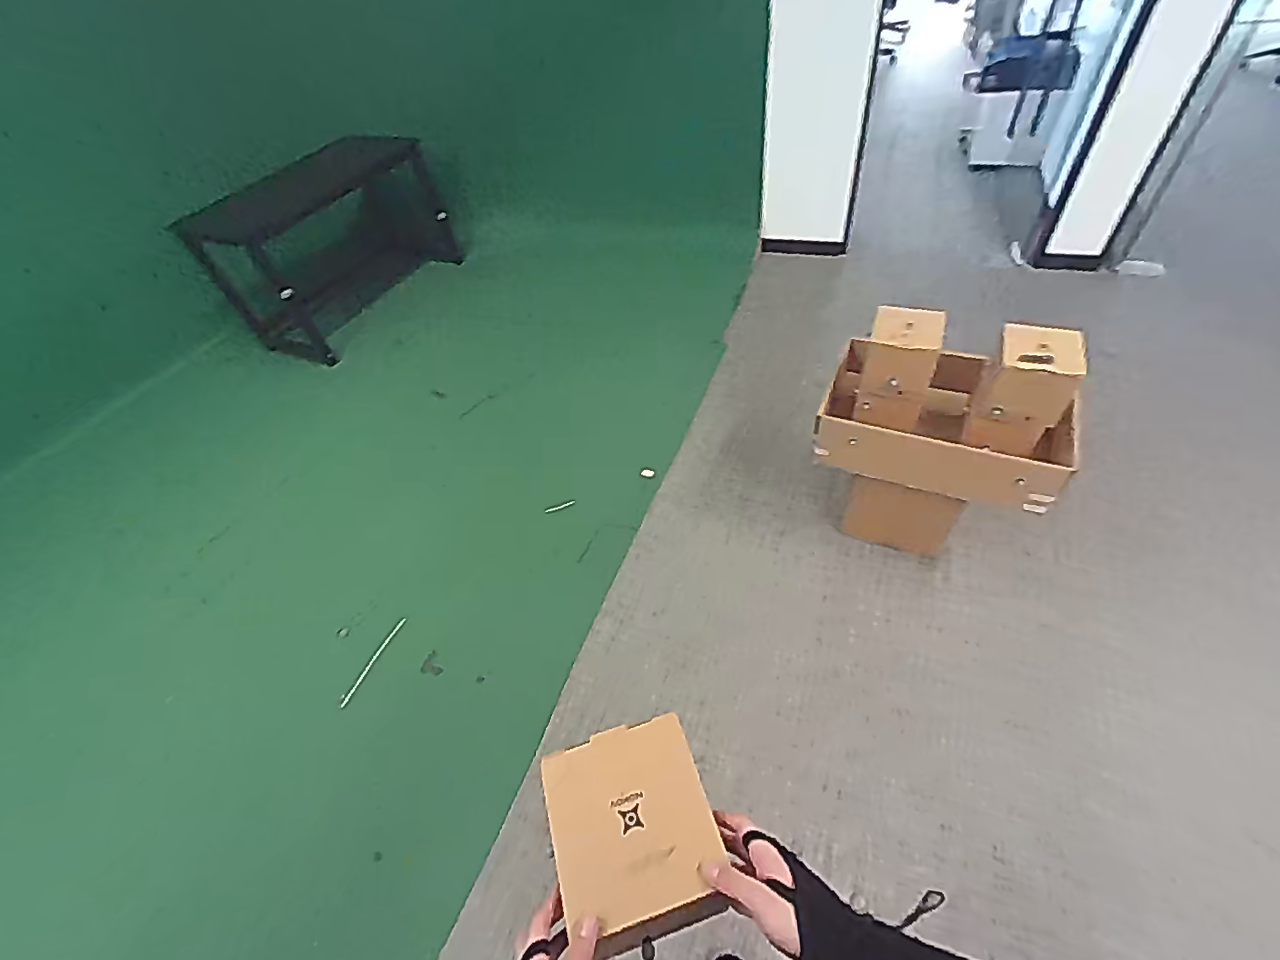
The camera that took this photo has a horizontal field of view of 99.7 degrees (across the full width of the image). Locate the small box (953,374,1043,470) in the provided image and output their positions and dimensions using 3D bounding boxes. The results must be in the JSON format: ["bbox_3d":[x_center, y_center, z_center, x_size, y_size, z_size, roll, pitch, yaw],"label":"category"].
[{"bbox_3d":[0.979,-0.158,1.479,0.168,0.176,0.179,18,55,23],"label":"small box"}]

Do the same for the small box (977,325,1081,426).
[{"bbox_3d":[0.964,-0.258,1.349,0.168,0.176,0.179,14,53,20],"label":"small box"}]

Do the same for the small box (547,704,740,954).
[{"bbox_3d":[-0.001,0.393,0.613,0.168,0.176,0.179,-14,45,-9],"label":"small box"}]

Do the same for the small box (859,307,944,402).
[{"bbox_3d":[0.700,-0.339,1.460,0.168,0.176,0.179,14,53,21],"label":"small box"}]
